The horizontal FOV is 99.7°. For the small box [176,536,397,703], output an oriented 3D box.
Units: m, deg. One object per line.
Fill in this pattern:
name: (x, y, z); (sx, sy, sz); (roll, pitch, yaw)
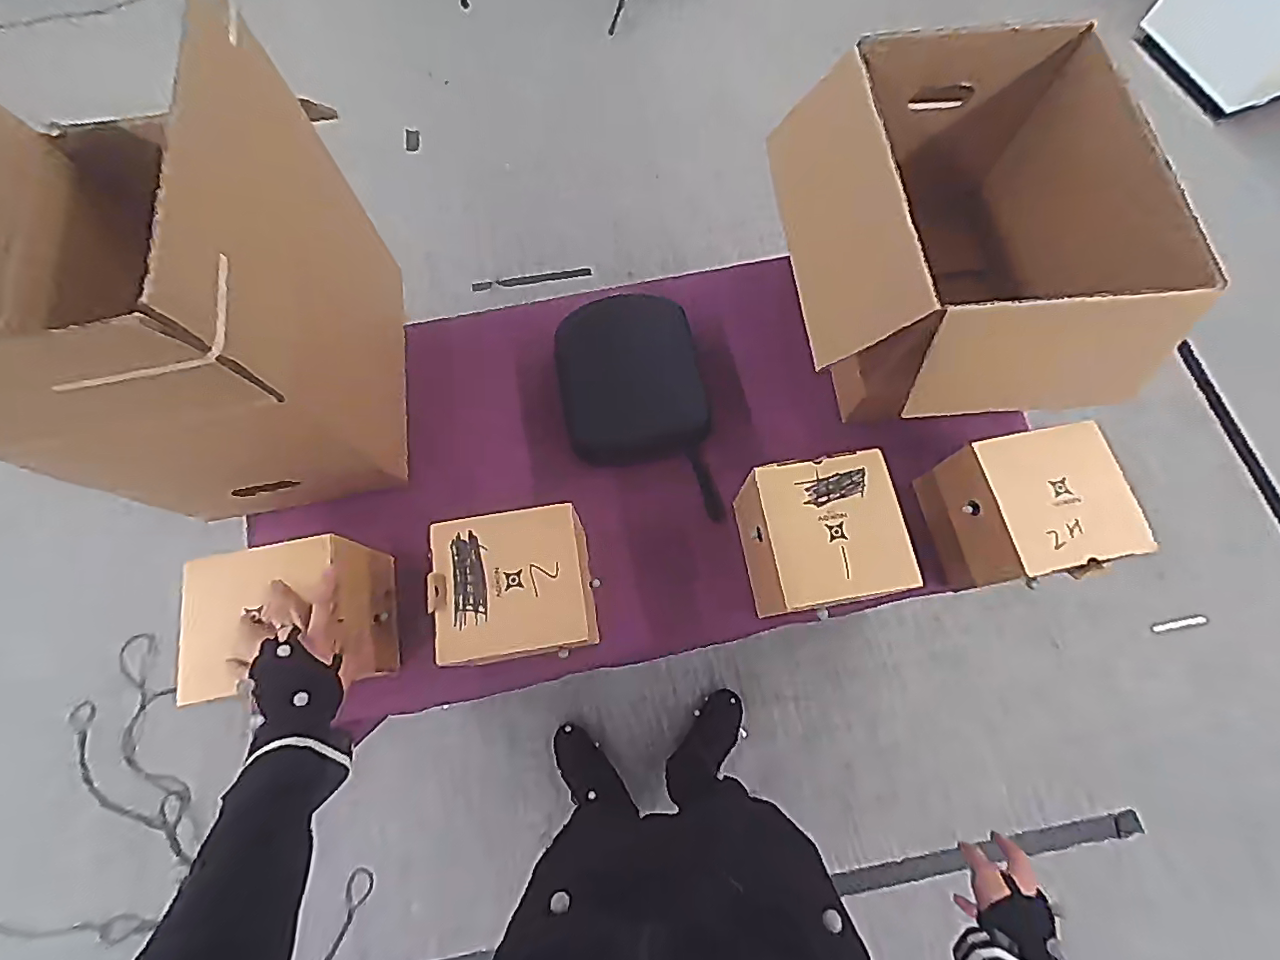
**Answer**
small box: (-0.438, 0.183, 0.699); (0.179, 0.176, 0.168); (-10, 72, -4)
